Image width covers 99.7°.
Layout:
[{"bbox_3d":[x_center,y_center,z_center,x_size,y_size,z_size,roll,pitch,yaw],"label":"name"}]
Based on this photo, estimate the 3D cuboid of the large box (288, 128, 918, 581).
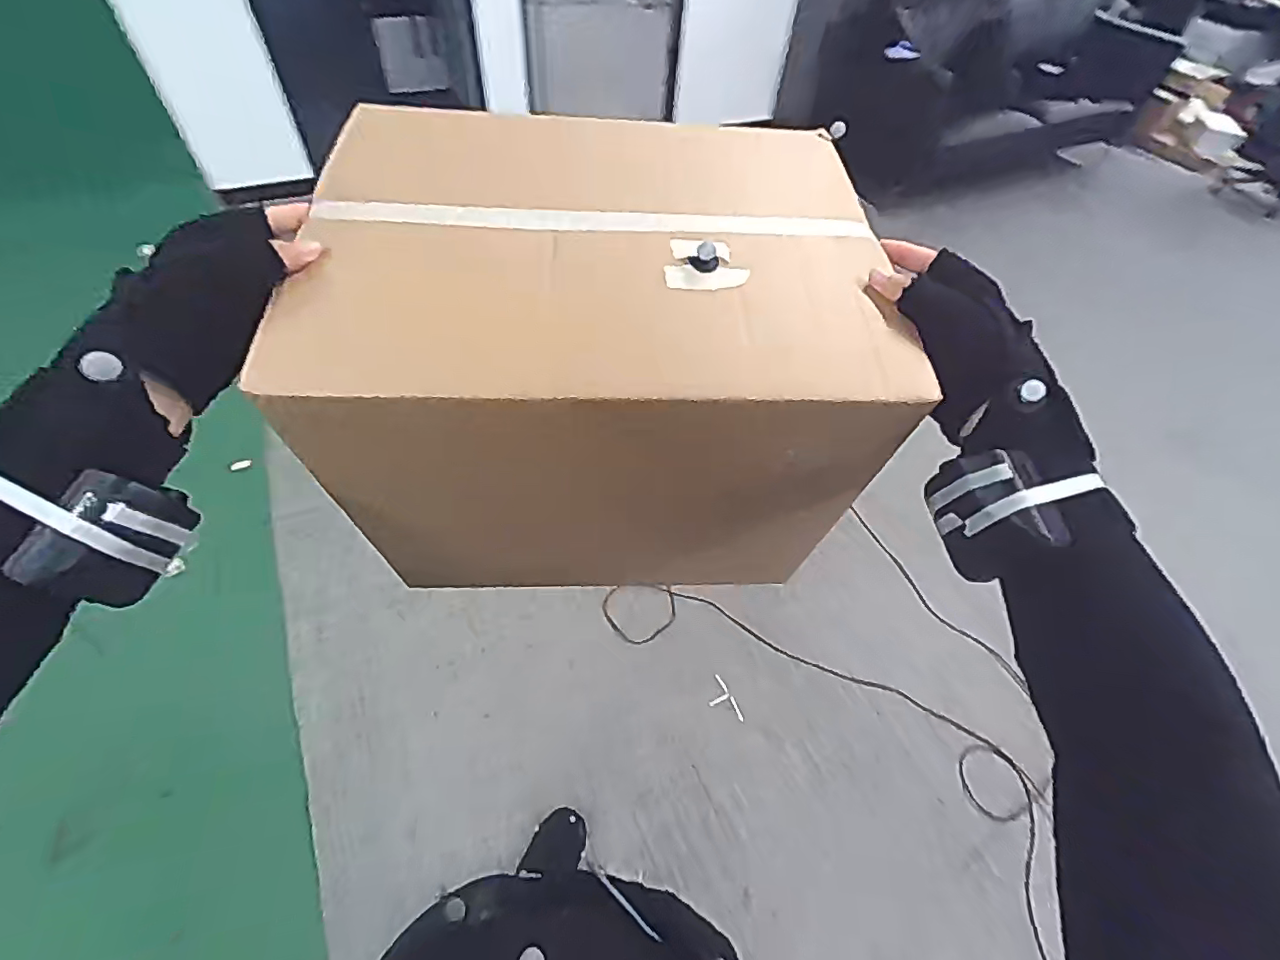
[{"bbox_3d":[-0.033,-0.100,0.538,0.408,0.320,0.320,1,59,-5],"label":"large box"}]
